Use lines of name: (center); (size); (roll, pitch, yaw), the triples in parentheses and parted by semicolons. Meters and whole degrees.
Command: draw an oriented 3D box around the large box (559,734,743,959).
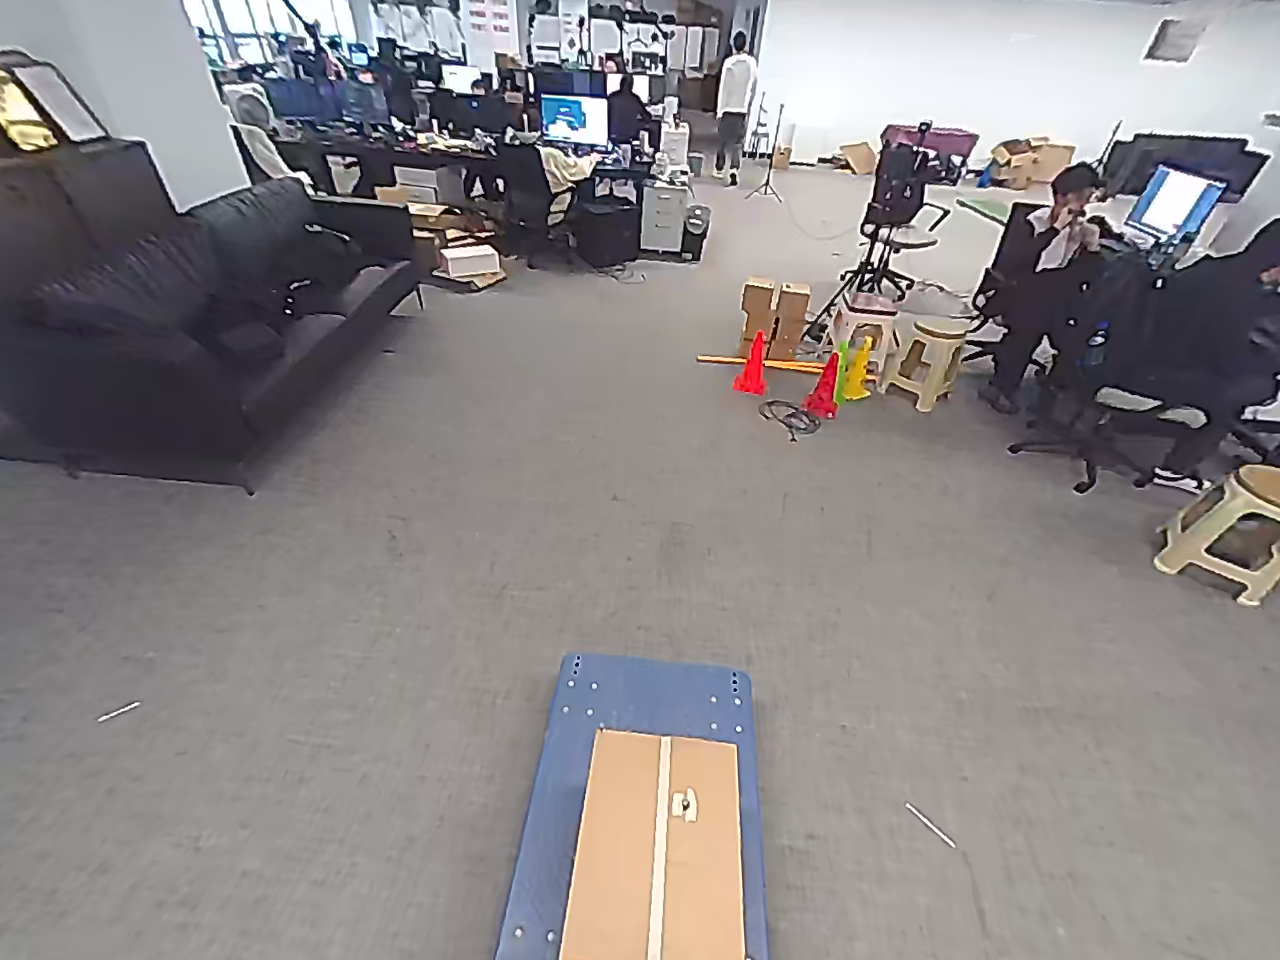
large box: (0.023, 0.815, 1.129); (0.320, 0.320, 0.408); (6, 38, 2)
